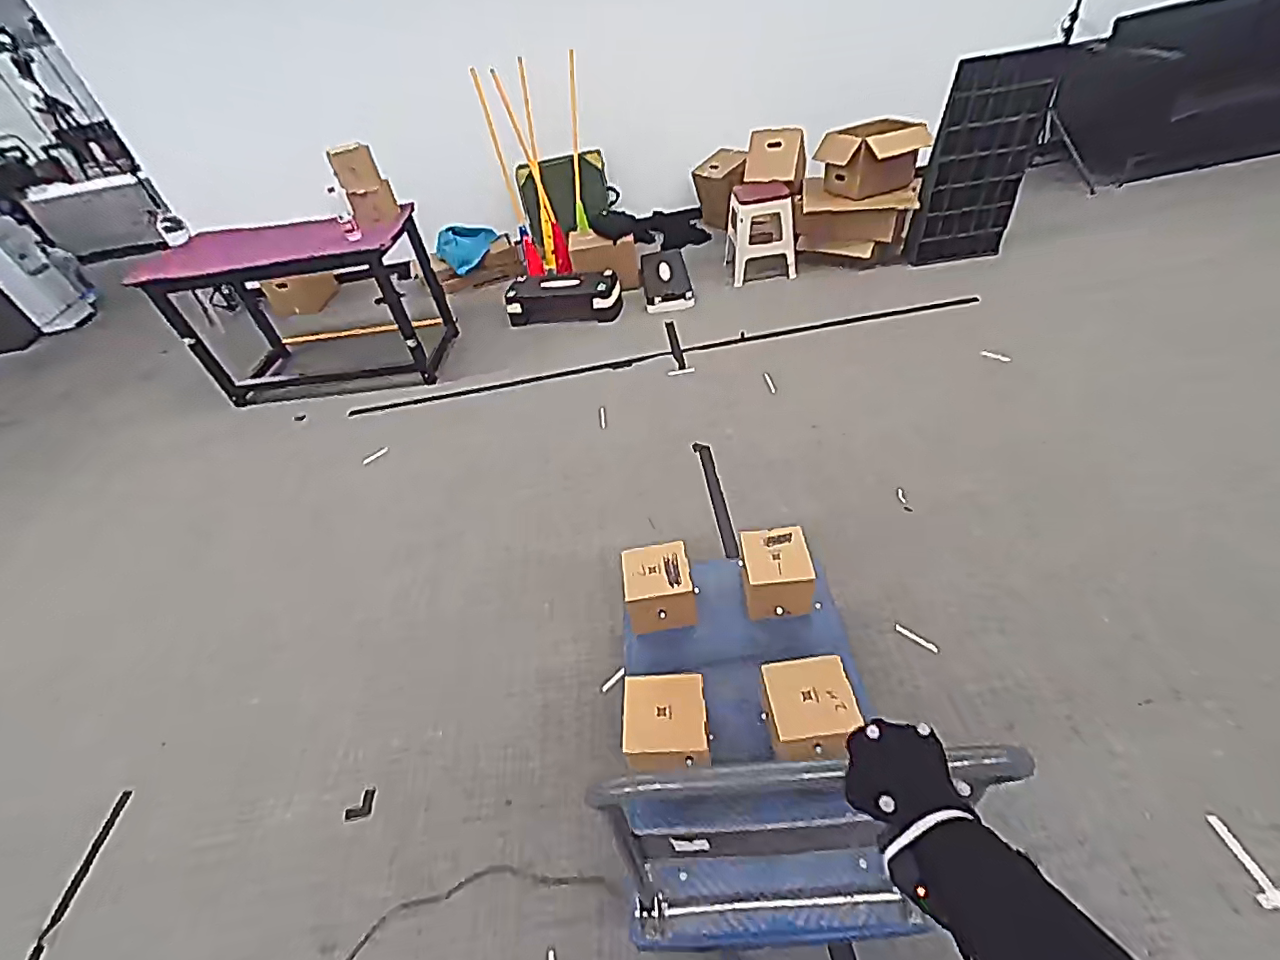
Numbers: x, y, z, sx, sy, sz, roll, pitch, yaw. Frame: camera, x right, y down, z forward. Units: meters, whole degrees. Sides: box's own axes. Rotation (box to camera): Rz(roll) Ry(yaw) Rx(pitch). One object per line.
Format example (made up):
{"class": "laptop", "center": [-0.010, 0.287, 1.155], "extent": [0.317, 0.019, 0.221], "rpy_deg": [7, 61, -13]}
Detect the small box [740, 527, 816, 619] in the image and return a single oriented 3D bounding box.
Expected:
{"class": "small box", "center": [0.365, 0.250, 1.459], "extent": [0.168, 0.176, 0.179], "rpy_deg": [-7, 44, 4]}

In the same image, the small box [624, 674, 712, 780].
{"class": "small box", "center": [0.065, 0.552, 1.204], "extent": [0.179, 0.176, 0.168], "rpy_deg": [-4, 43, 5]}

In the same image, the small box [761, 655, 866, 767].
{"class": "small box", "center": [0.371, 0.509, 1.187], "extent": [0.179, 0.176, 0.168], "rpy_deg": [-9, 43, 2]}
